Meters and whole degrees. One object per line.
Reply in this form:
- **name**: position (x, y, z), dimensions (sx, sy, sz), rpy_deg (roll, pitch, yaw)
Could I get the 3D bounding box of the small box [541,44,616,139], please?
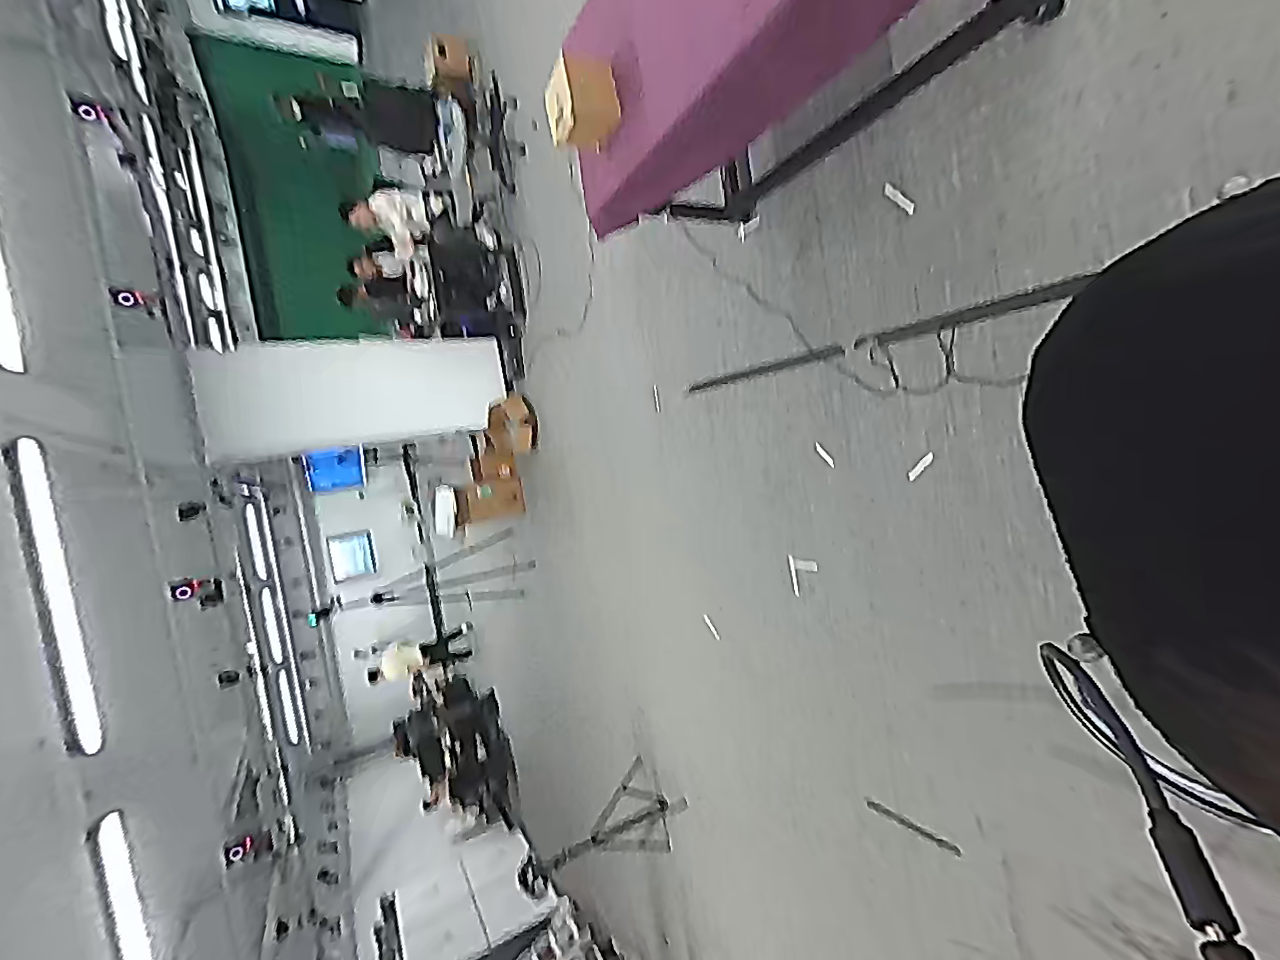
- **small box**: position (-0.190, -1.204, 1.693), dimensions (0.168, 0.176, 0.179), rpy_deg (-20, 82, 60)
